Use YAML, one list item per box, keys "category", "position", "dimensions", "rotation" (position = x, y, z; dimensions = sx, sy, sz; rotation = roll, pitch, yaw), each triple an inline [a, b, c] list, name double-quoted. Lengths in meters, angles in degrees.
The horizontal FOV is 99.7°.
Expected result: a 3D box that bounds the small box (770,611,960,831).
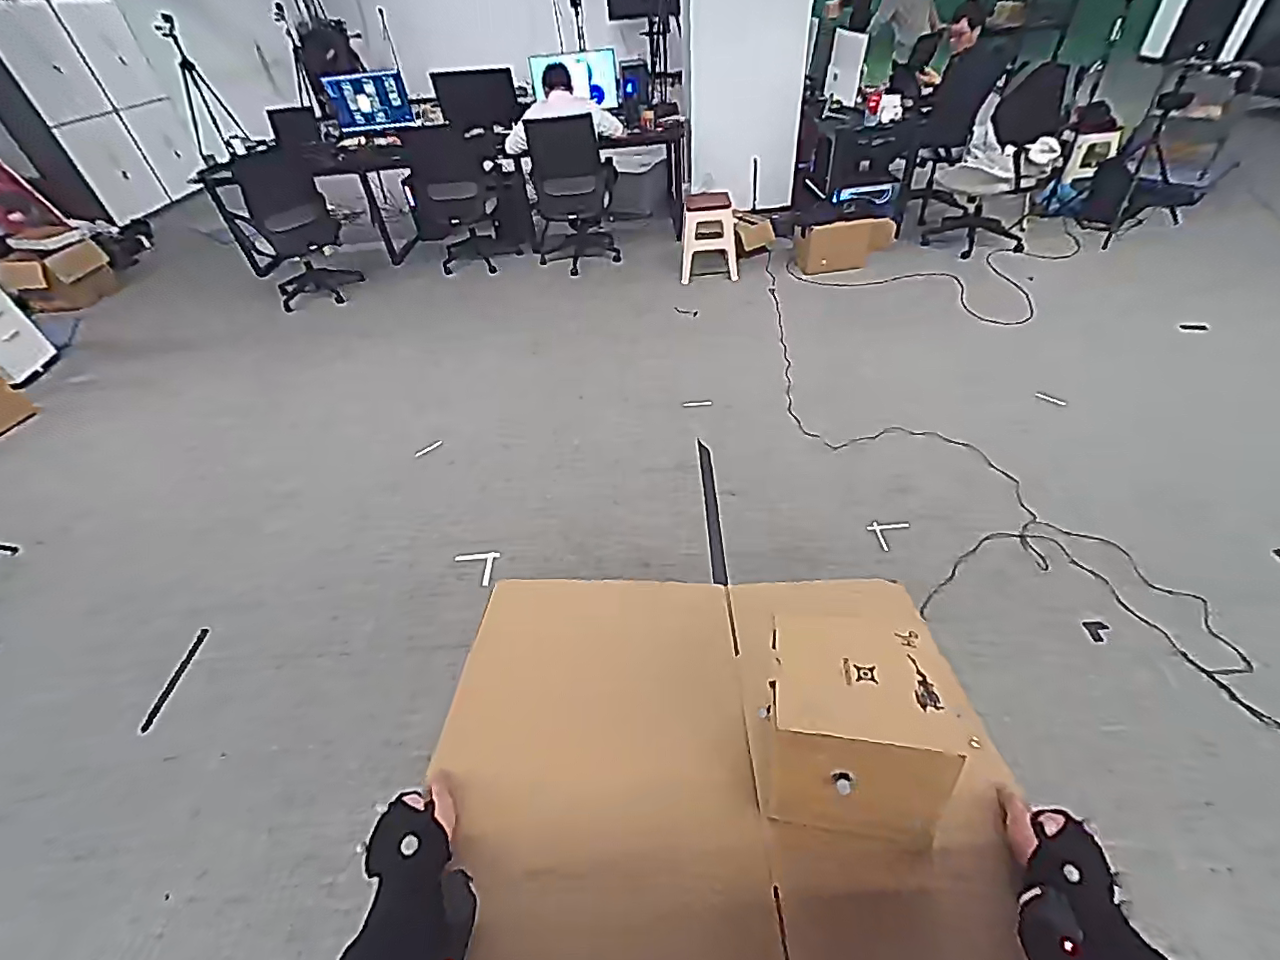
- category: "small box"
  position: [0.243, 0.276, 0.633]
  dimensions: [0.179, 0.176, 0.168]
  rotation: [1, 33, 13]
